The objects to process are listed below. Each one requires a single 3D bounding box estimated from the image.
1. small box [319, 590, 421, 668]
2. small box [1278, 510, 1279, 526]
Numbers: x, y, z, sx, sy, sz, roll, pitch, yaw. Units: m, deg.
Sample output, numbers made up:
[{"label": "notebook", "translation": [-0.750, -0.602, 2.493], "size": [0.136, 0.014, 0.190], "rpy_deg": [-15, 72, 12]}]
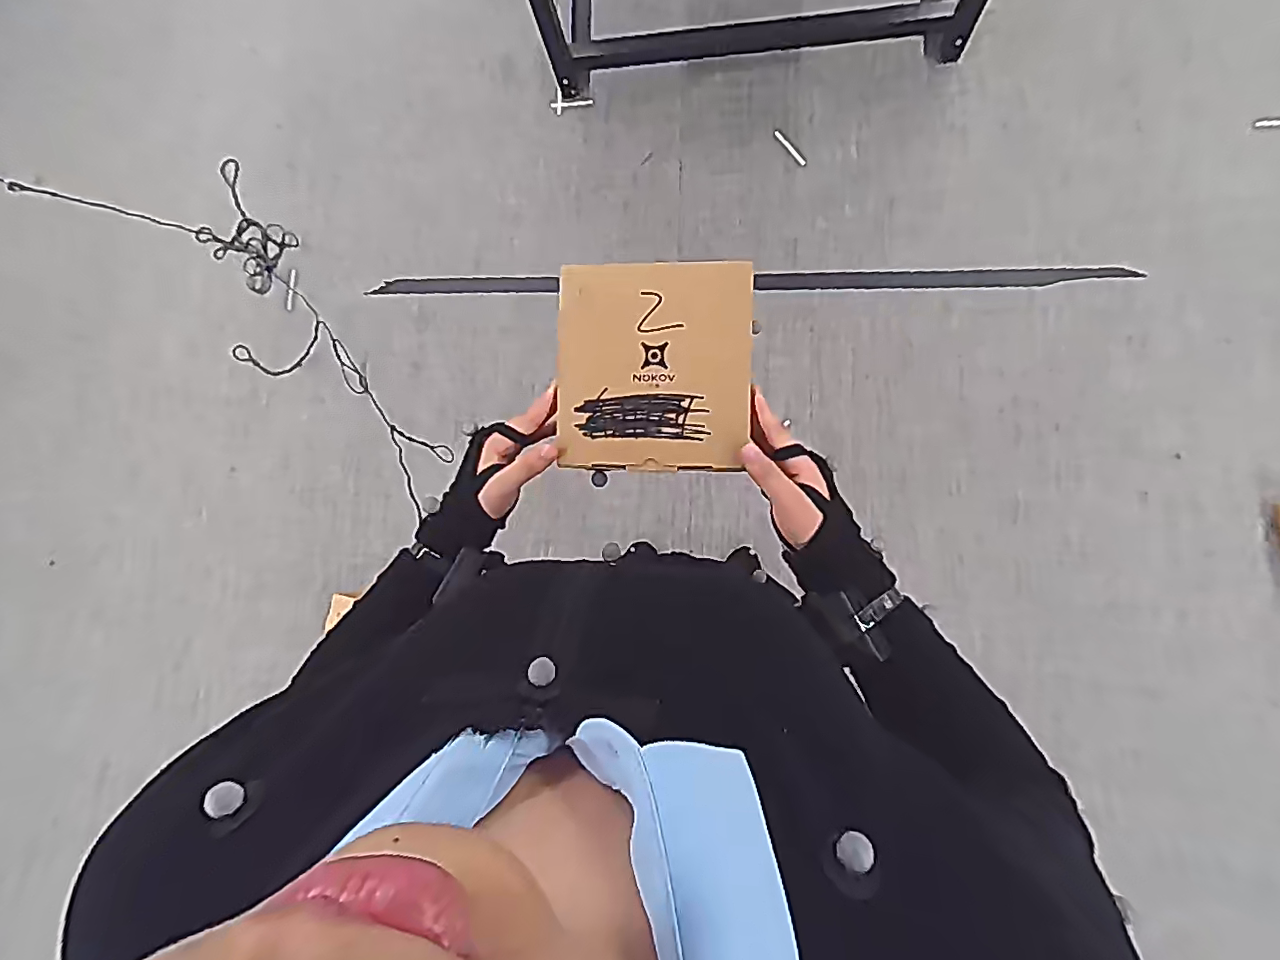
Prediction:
[{"label": "small box", "translation": [-0.741, 0.407, 1.505], "size": [0.179, 0.176, 0.168], "rpy_deg": [10, 84, 9]}, {"label": "small box", "translation": [1.620, 0.122, 1.220], "size": [0.179, 0.176, 0.168], "rpy_deg": [-6, 82, 7]}]
